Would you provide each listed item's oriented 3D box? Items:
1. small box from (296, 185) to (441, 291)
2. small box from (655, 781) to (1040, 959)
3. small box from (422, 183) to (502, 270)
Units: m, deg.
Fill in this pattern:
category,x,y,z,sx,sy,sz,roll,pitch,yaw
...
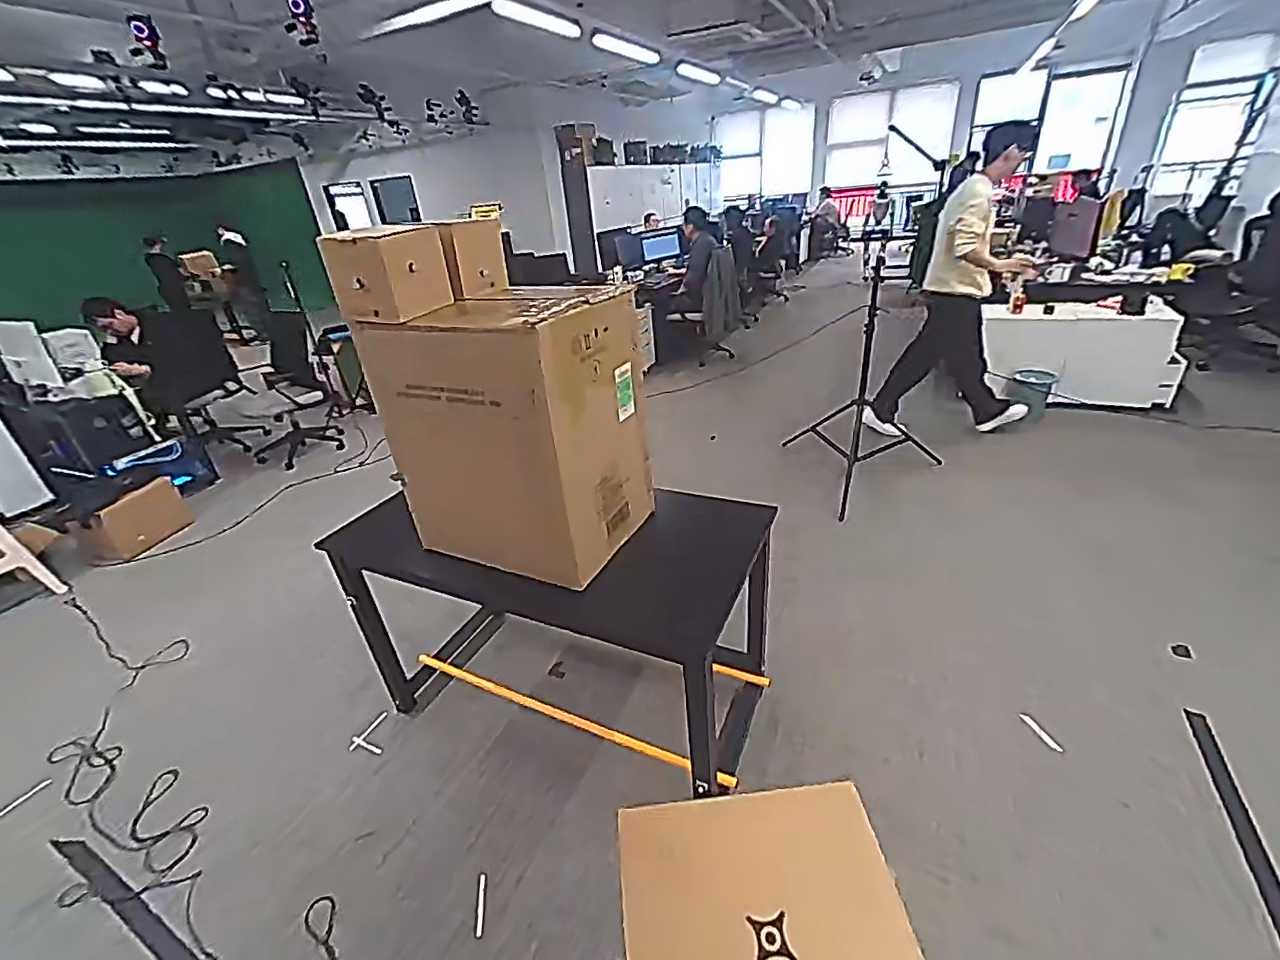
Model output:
category,x,y,z,sx,sy,sz,roll,pitch,yaw
small box,-0.528,-0.483,1.081,0.168,0.176,0.179,9,35,19
small box,0.098,0.288,0.272,0.168,0.176,0.179,-6,36,-3
small box,-0.445,-0.580,1.243,0.179,0.176,0.168,11,31,25
